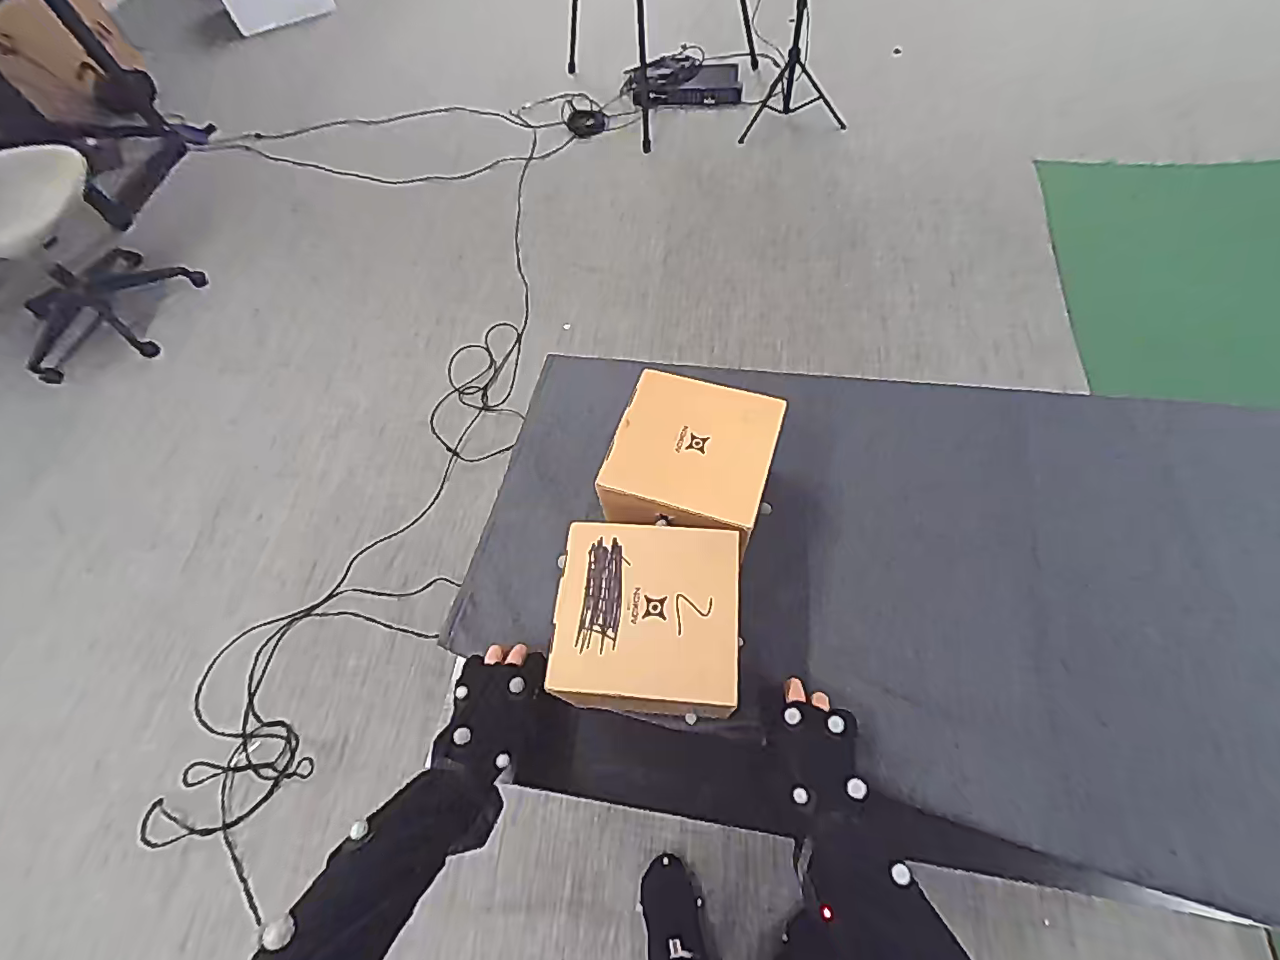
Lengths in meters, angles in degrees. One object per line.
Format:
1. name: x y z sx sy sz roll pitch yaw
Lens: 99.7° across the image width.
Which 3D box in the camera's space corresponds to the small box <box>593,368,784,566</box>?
1. small box: 0.063 -0.008 0.666 0.179 0.176 0.168 15 65 13
